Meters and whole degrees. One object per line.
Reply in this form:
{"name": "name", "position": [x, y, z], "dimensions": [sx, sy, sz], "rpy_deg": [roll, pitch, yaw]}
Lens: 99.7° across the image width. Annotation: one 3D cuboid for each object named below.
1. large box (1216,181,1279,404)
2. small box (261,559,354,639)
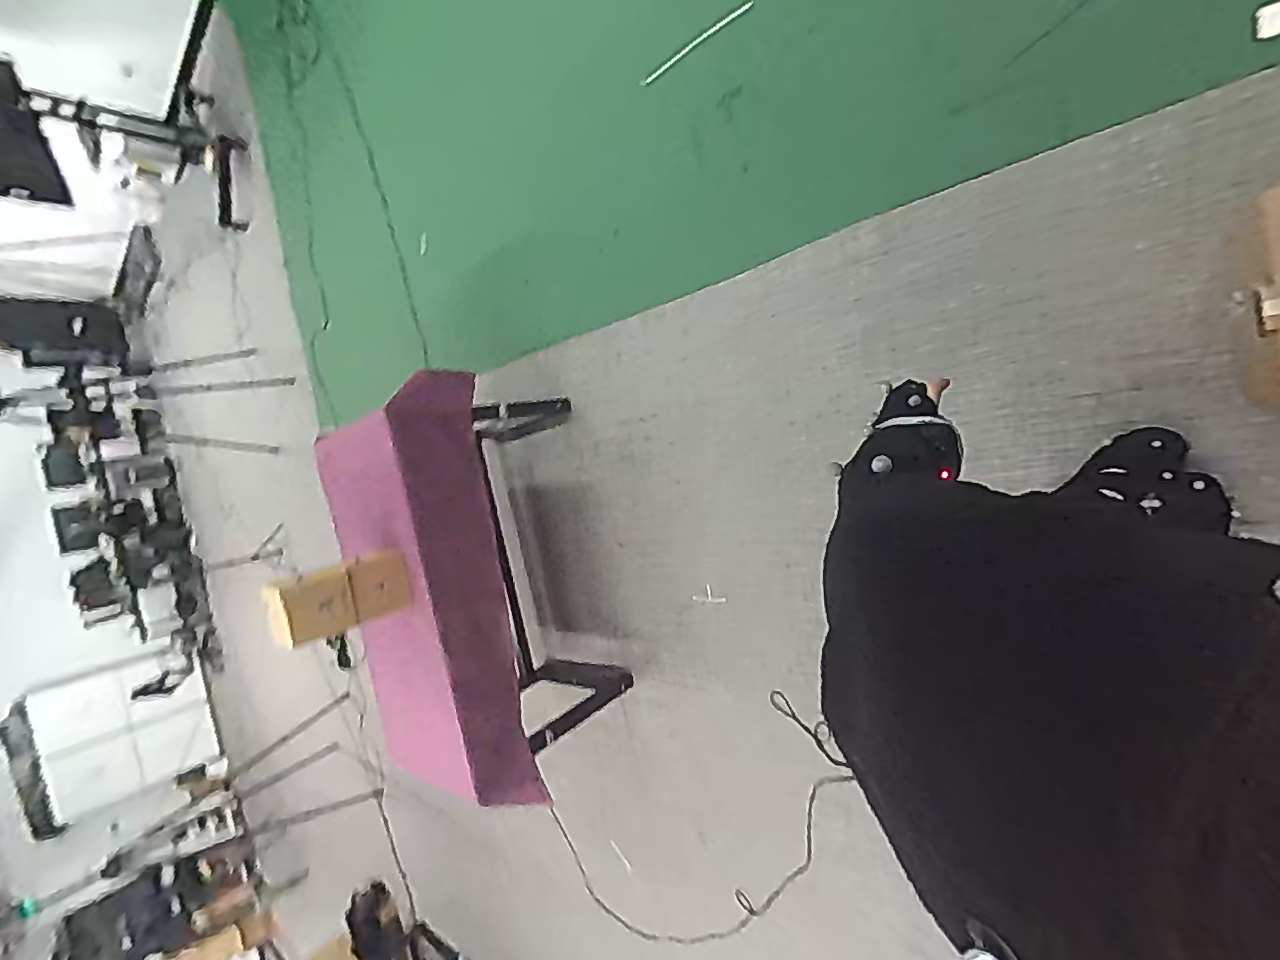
{"name": "large box", "position": [1.115, -0.296, 0.733], "dimensions": [0.408, 0.320, 0.320], "rpy_deg": [-8, 95, 40]}
{"name": "small box", "position": [-0.923, 0.325, 1.514], "dimensions": [0.179, 0.176, 0.168], "rpy_deg": [-2, 99, 40]}
